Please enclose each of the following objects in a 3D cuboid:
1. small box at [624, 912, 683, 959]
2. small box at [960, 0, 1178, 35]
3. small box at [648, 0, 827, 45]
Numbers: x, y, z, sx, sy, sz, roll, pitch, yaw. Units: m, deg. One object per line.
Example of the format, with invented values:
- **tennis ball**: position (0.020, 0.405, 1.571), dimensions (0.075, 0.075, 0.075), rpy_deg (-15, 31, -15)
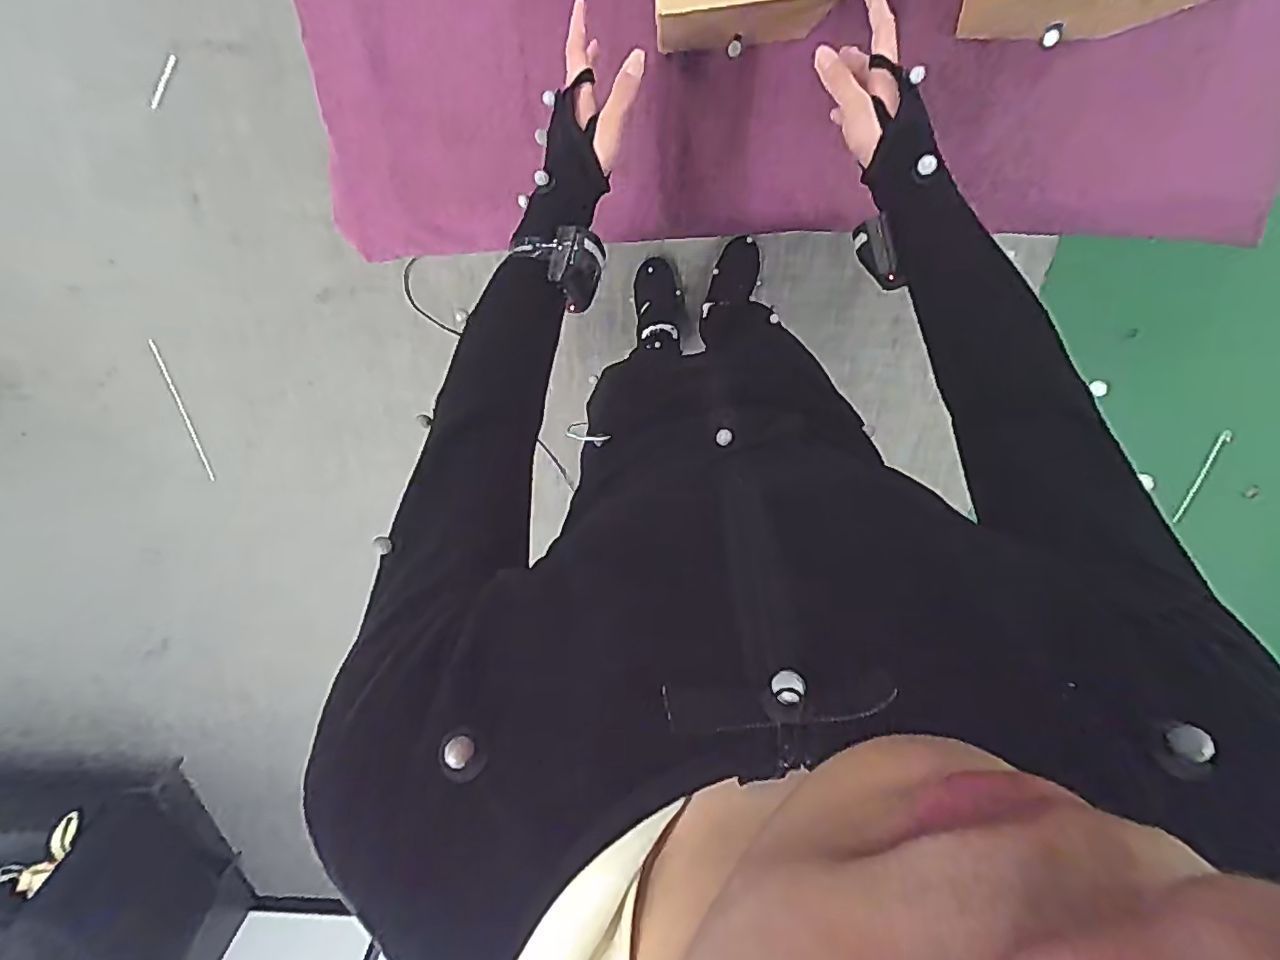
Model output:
- **small box**: position (0.036, 1.375, 1.546), dimensions (0.168, 0.176, 0.179), rpy_deg (3, 119, 3)
- **small box**: position (0.438, -0.554, 0.509), dimensions (0.168, 0.176, 0.179), rpy_deg (3, 119, 2)
- **small box**: position (0.092, -0.553, 0.530), dimensions (0.179, 0.176, 0.168), rpy_deg (-3, 118, 4)
